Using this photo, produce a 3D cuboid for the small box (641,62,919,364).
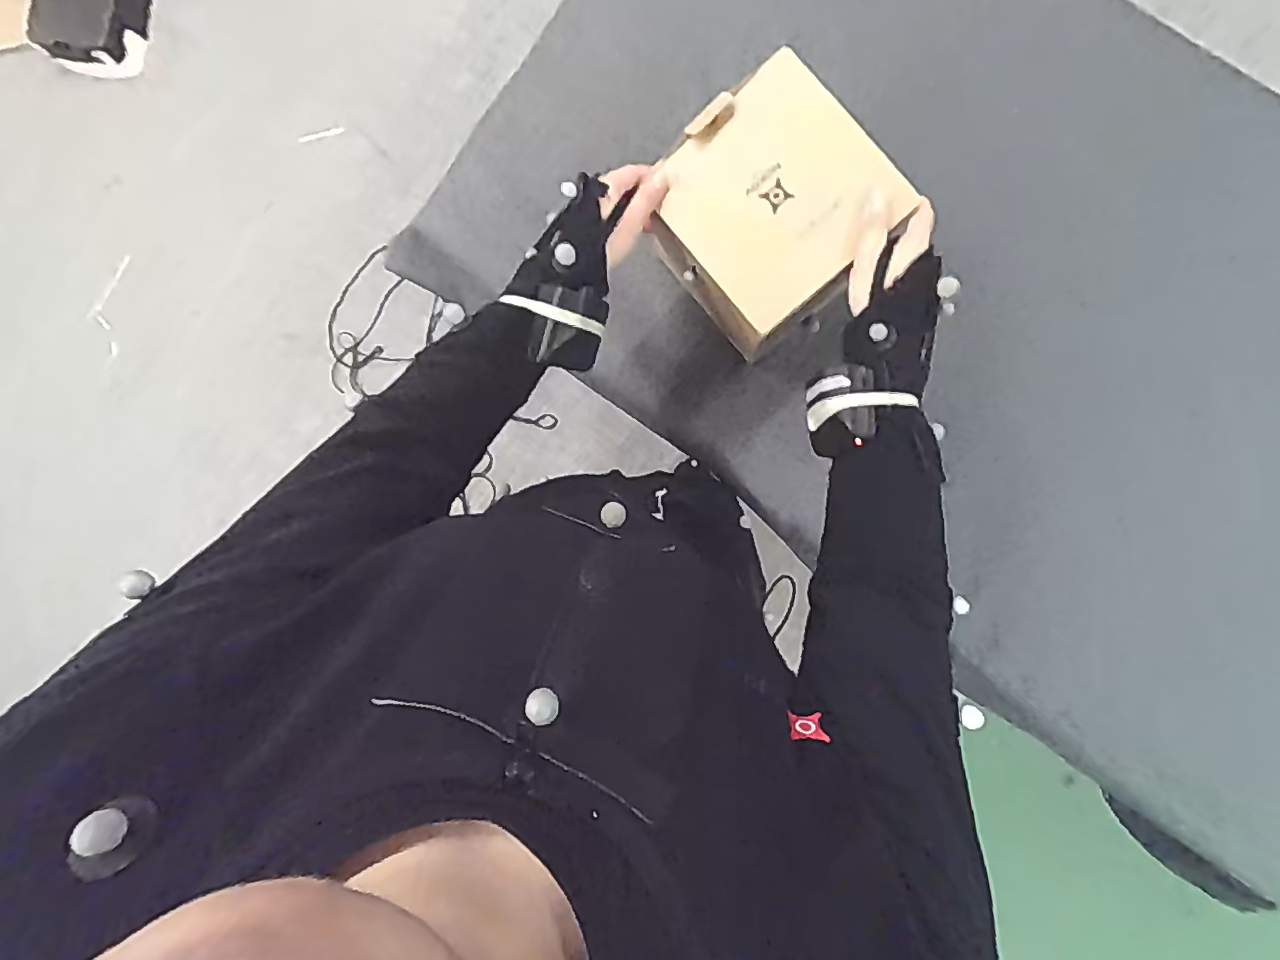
[{"bbox_3d":[0.125,-0.237,0.535,0.168,0.176,0.179,-40,87,9],"label":"small box"}]
